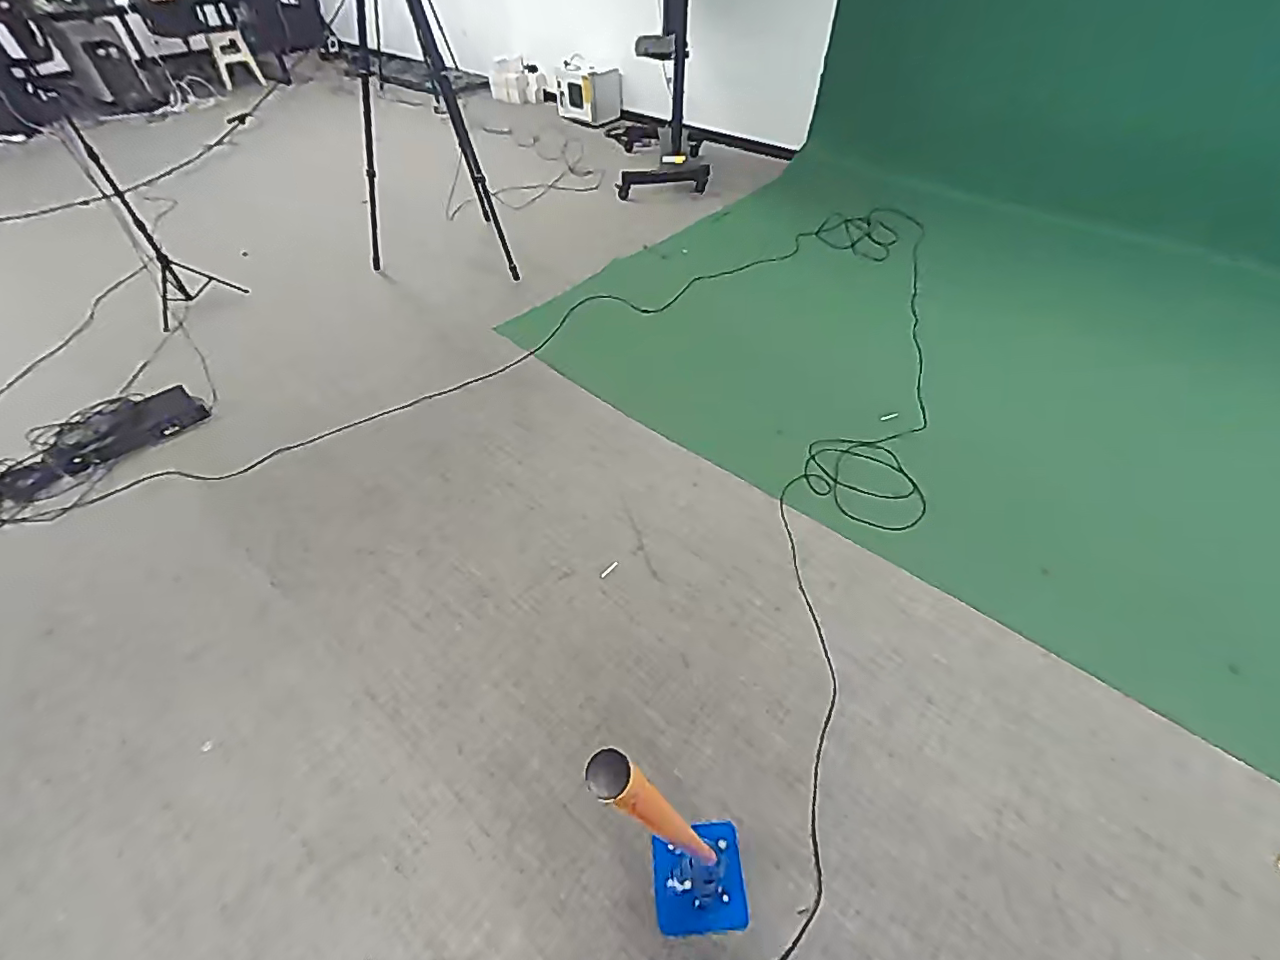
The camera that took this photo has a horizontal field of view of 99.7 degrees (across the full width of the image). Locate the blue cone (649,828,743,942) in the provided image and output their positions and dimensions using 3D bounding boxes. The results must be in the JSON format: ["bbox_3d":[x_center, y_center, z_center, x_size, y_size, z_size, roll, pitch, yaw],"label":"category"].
[{"bbox_3d":[0.116,0.776,1.061,0.193,0.380,0.192,-5,49,-2],"label":"blue cone"}]
